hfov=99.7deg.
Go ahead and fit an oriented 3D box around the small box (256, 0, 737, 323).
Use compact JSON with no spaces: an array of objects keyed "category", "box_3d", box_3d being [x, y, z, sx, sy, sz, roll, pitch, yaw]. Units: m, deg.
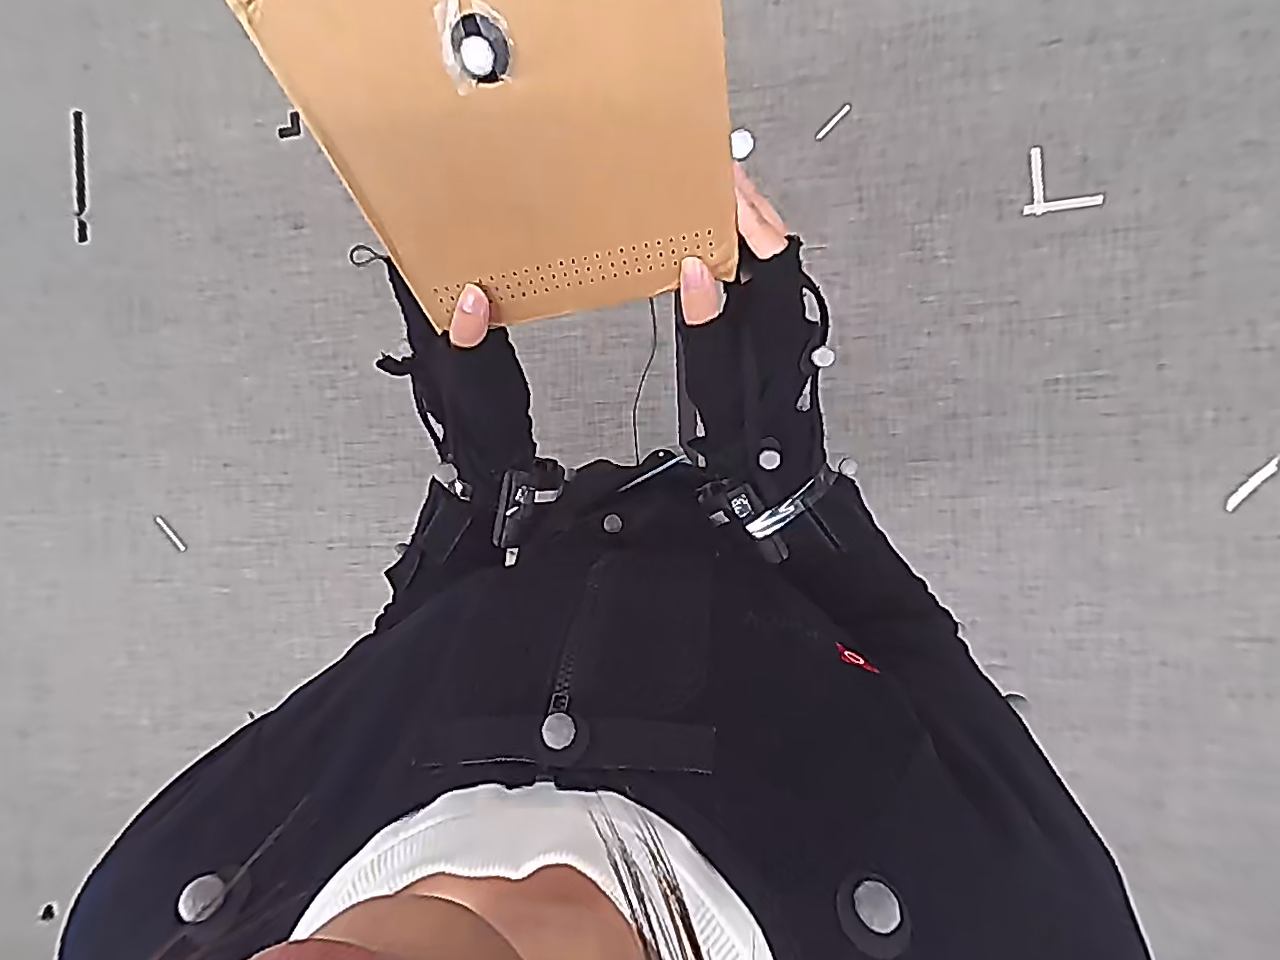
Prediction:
[{"category":"small box","box_3d":[-0.047,-0.210,0.301,0.179,0.176,0.168,-8,54,9]}]
